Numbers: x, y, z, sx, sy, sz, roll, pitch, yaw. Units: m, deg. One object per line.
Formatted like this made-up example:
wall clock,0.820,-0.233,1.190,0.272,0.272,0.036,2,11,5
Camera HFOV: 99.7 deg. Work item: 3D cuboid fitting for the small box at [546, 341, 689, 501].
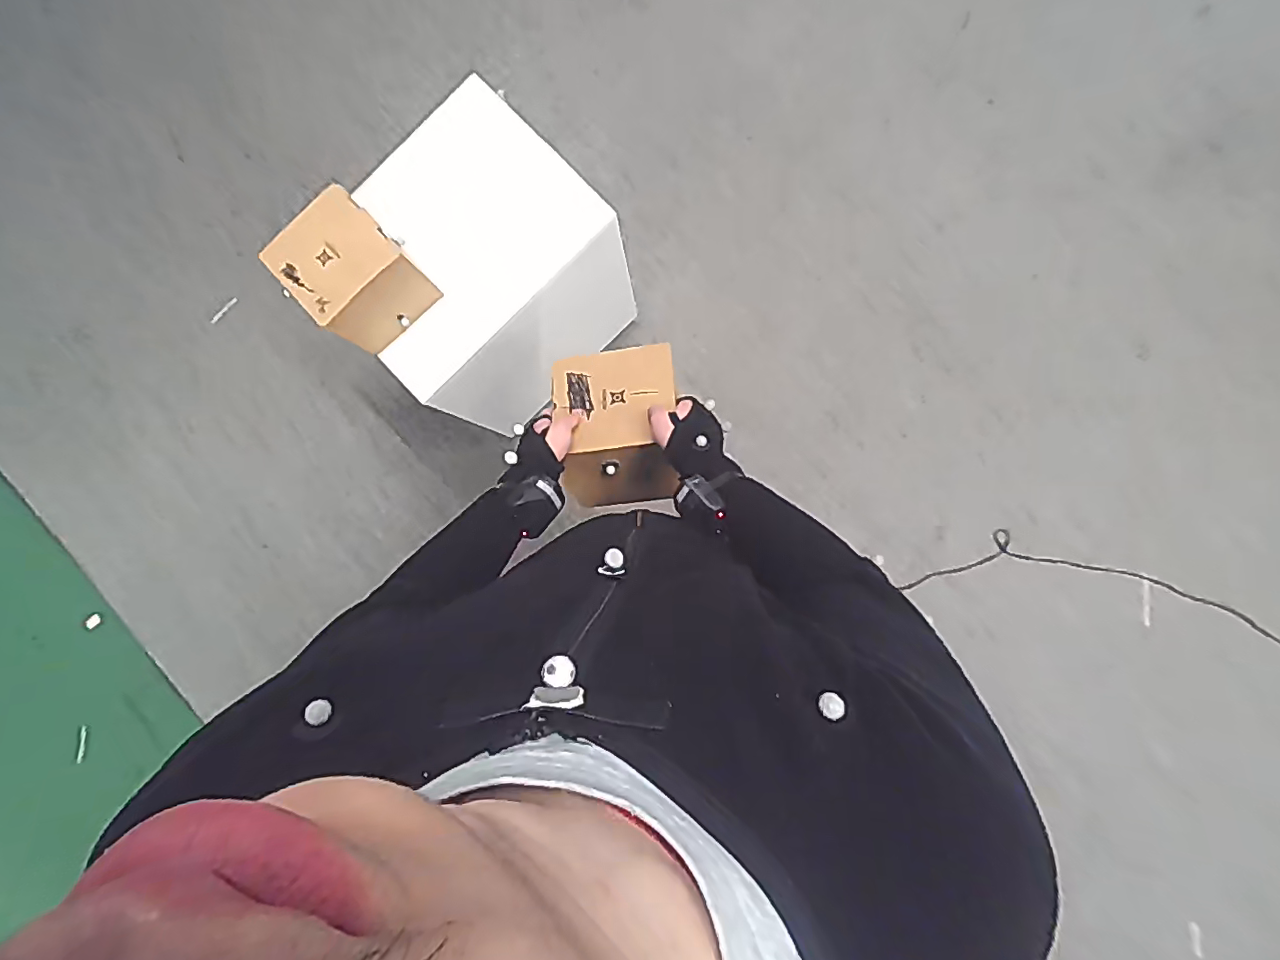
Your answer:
small box,-0.026,-0.078,0.802,0.179,0.176,0.168,-6,62,7

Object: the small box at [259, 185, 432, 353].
small box,-0.490,-0.353,0.937,0.179,0.176,0.168,-43,86,0
